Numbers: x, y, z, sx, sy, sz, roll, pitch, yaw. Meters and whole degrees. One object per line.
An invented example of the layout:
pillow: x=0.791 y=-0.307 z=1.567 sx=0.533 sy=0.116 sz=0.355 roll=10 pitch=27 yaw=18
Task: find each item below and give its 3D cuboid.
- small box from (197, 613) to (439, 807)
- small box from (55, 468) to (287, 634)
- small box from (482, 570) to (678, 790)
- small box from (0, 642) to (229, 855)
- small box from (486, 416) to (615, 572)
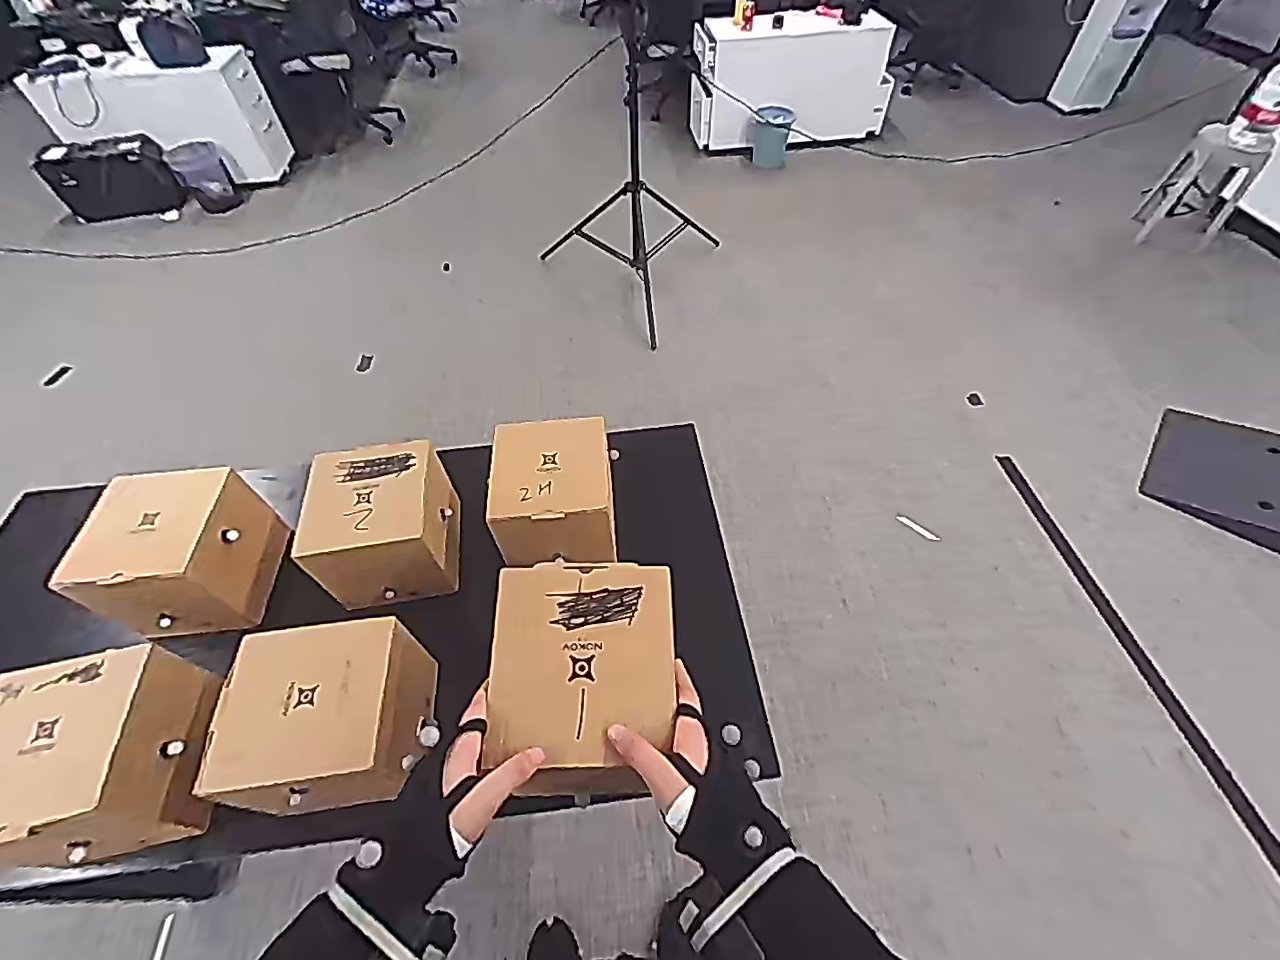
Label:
small box: x=-0.361 y=0.279 z=0.649 sx=0.179 sy=0.176 sz=0.168 roll=-7 pitch=53 yaw=-4
small box: x=-0.658 y=0.106 z=0.793 sx=0.168 sy=0.176 sz=0.179 roll=-6 pitch=53 yaw=-3
small box: x=-0.052 y=0.209 z=0.560 sx=0.168 sy=0.176 sz=0.179 roll=-1 pitch=54 yaw=-1
small box: x=-0.615 y=0.316 z=0.627 sx=0.168 sy=0.176 sz=0.179 roll=-11 pitch=53 yaw=-7
small box: x=-0.129 y=0.025 z=0.835 sx=0.168 sy=0.176 sz=0.179 roll=-6 pitch=52 yaw=-1
